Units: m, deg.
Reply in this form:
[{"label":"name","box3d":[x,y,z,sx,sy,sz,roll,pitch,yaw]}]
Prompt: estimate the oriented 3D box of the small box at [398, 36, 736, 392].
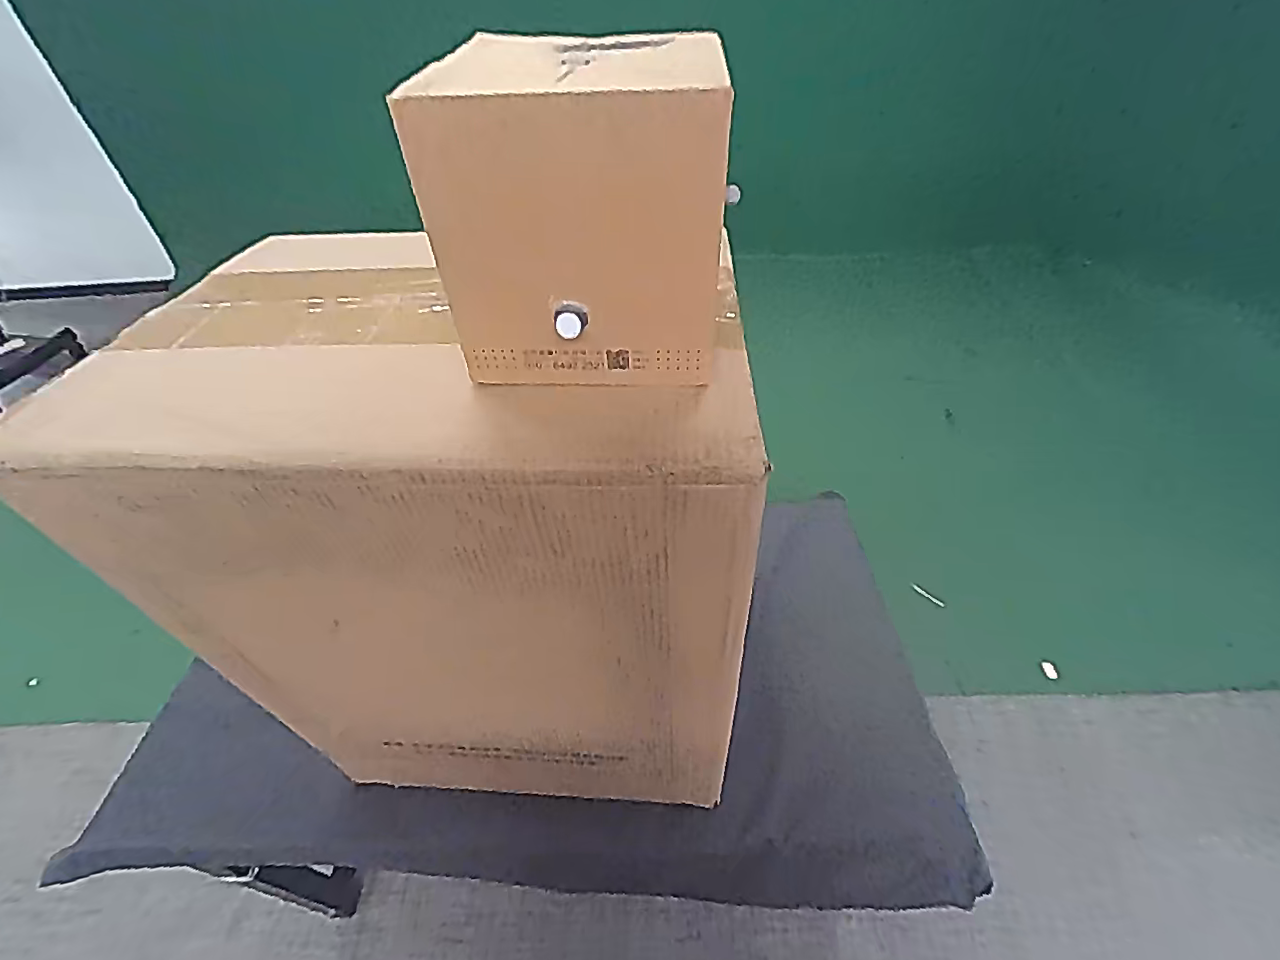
[{"label":"small box","box3d":[-0.029,-0.181,0.368,0.168,0.176,0.179,2,47,4]}]
